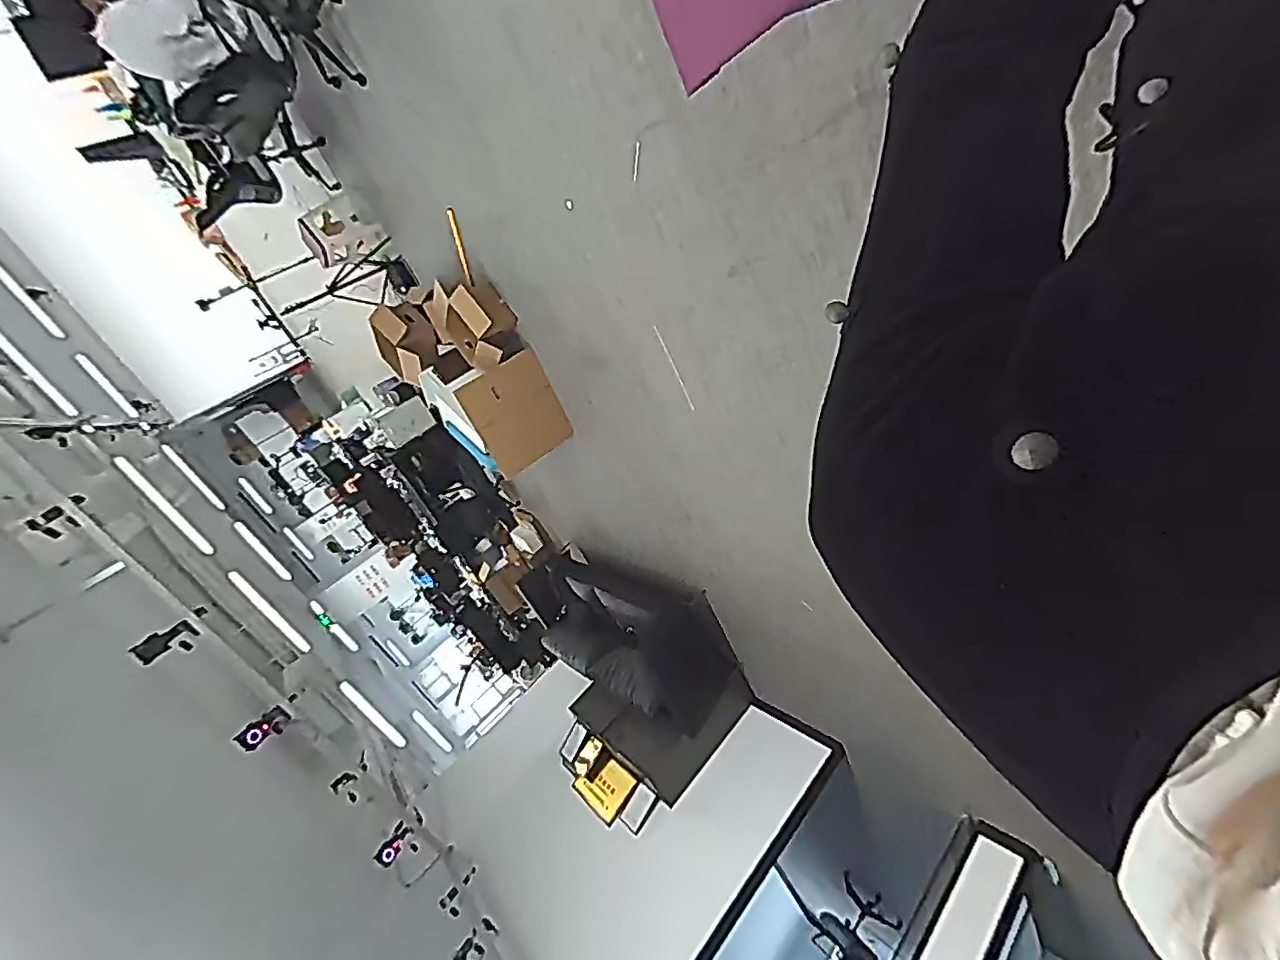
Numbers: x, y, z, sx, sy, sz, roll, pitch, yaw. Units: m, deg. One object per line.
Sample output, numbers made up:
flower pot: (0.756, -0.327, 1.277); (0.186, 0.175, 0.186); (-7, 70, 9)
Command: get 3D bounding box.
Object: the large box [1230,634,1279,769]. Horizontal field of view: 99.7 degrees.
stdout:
large box: (1.761, 0.558, 1.259); (0.320, 0.320, 0.408); (46, 153, 5)
